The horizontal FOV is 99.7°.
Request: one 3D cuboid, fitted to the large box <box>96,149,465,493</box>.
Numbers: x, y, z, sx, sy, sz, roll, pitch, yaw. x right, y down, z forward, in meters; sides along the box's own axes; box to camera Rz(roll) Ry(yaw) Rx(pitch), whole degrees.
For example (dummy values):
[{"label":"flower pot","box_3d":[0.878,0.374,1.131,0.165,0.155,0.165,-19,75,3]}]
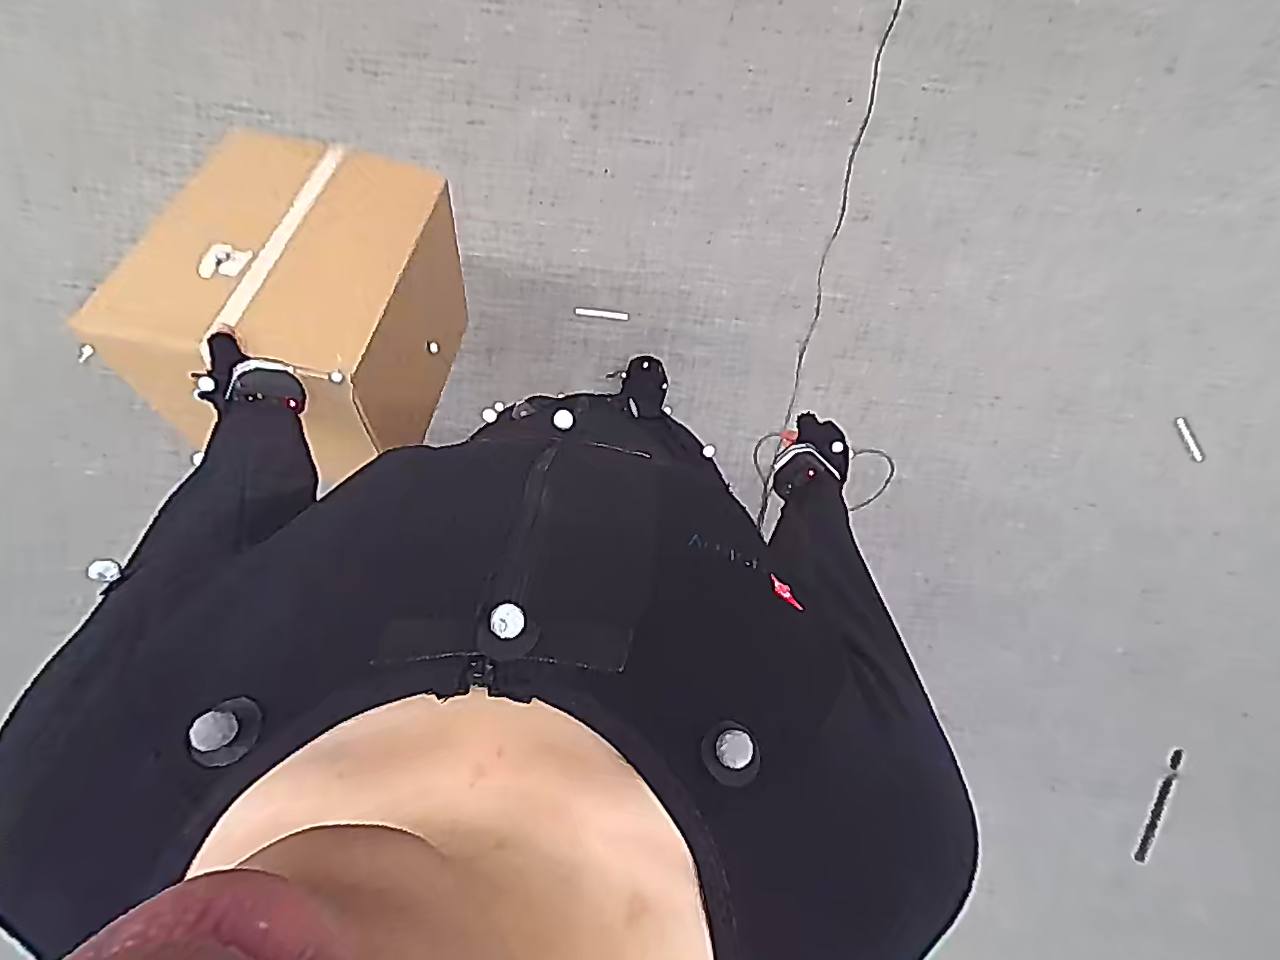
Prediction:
[{"label":"large box","box_3d":[-0.501,-0.242,0.877,0.320,0.320,0.408,10,61,-4]}]
